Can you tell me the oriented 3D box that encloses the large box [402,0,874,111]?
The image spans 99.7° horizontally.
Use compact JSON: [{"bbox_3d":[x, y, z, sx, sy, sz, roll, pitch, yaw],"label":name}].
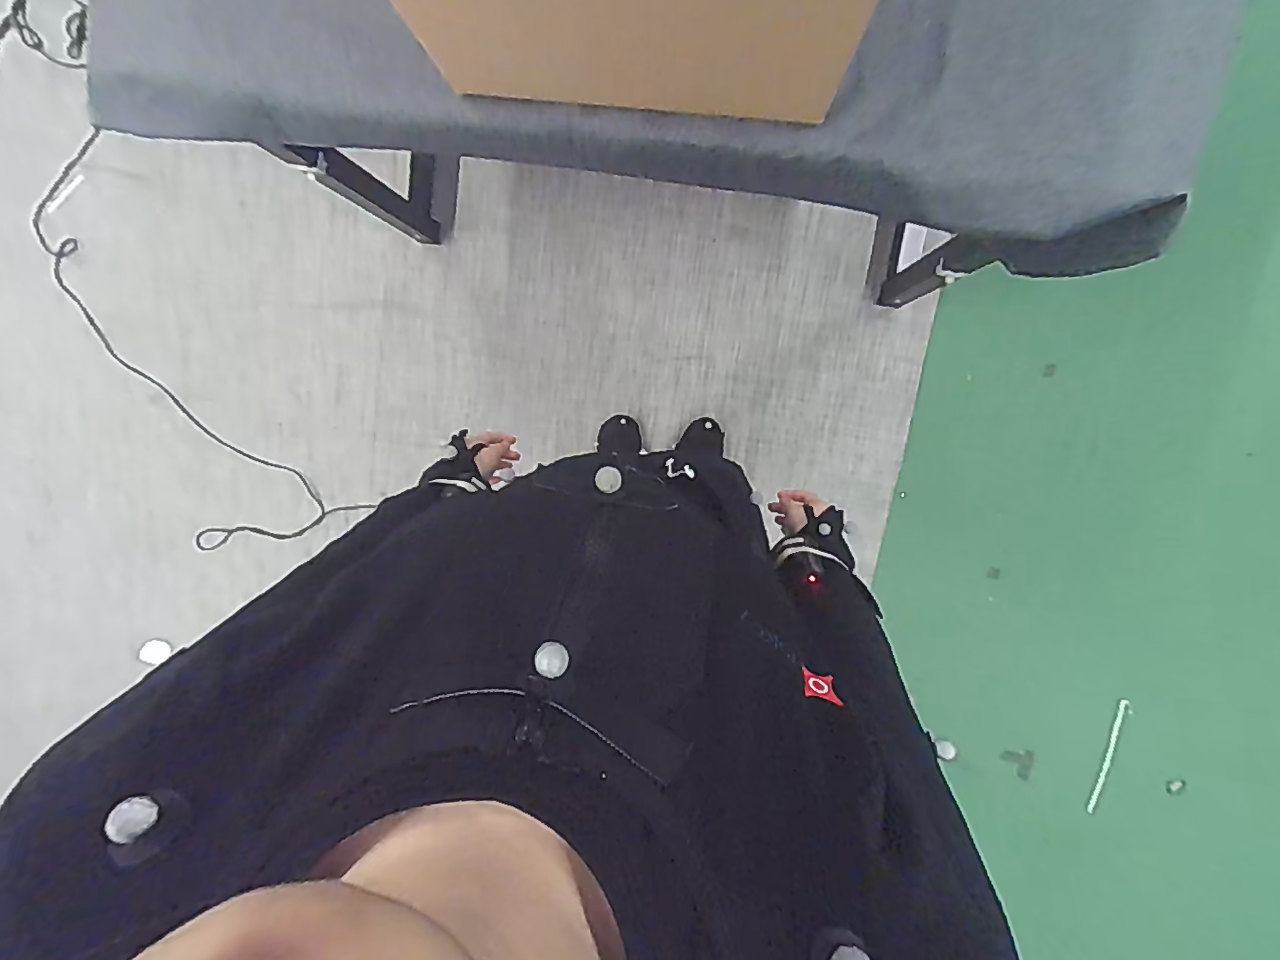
[{"bbox_3d":[0.001,-0.539,0.417,0.408,0.320,0.320,7,97,3],"label":"large box"}]
